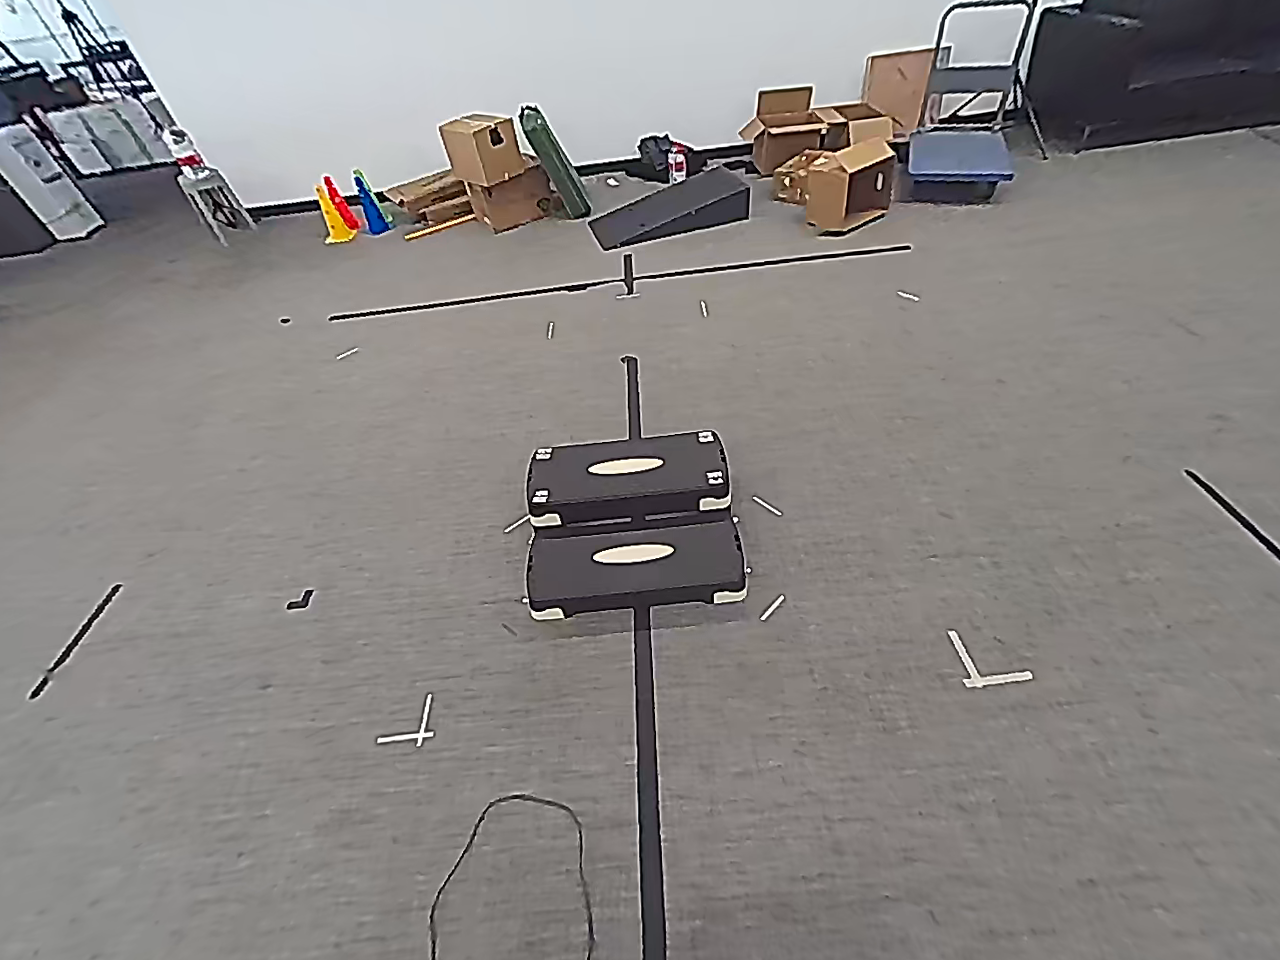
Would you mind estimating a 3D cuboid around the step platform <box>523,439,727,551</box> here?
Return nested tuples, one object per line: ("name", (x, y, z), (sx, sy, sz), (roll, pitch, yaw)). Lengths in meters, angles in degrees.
("step platform", (-0.051, 0.044, 1.841), (0.684, 0.204, 0.286), (-6, 47, 1))
